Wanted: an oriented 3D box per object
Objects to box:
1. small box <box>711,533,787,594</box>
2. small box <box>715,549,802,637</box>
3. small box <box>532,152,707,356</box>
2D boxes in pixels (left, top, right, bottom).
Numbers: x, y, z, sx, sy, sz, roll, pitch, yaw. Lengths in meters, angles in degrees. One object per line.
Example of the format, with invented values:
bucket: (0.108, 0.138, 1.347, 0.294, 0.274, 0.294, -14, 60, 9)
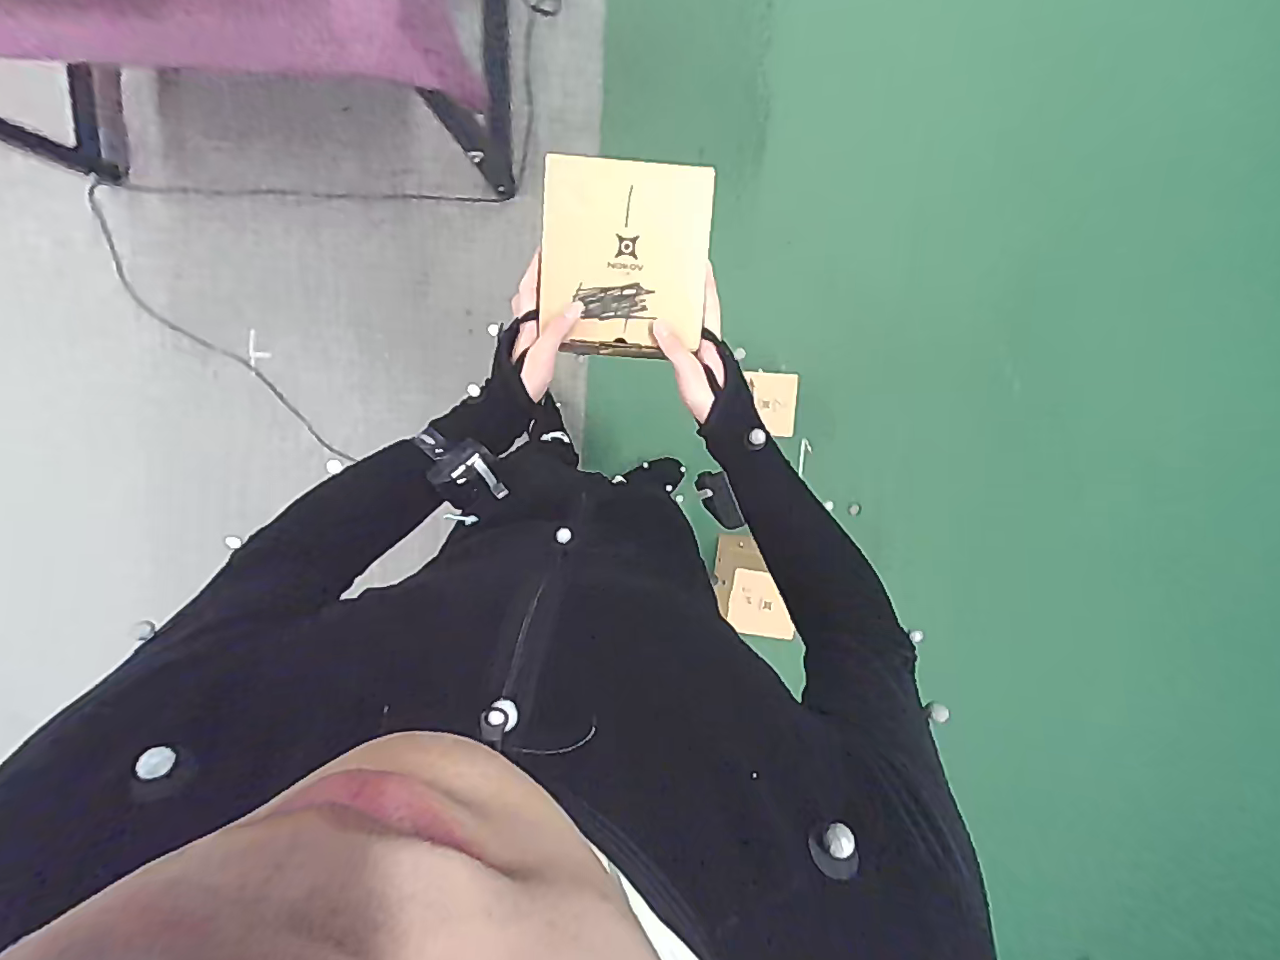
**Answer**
small box: (0.312, 0.260, 1.581, 0.179, 0.176, 0.168, 7, 99, 1)
small box: (0.304, 0.290, 1.419, 0.179, 0.176, 0.168, 9, 99, 0)
small box: (-0.024, -0.234, 0.605, 0.168, 0.176, 0.179, 2, 99, -2)
